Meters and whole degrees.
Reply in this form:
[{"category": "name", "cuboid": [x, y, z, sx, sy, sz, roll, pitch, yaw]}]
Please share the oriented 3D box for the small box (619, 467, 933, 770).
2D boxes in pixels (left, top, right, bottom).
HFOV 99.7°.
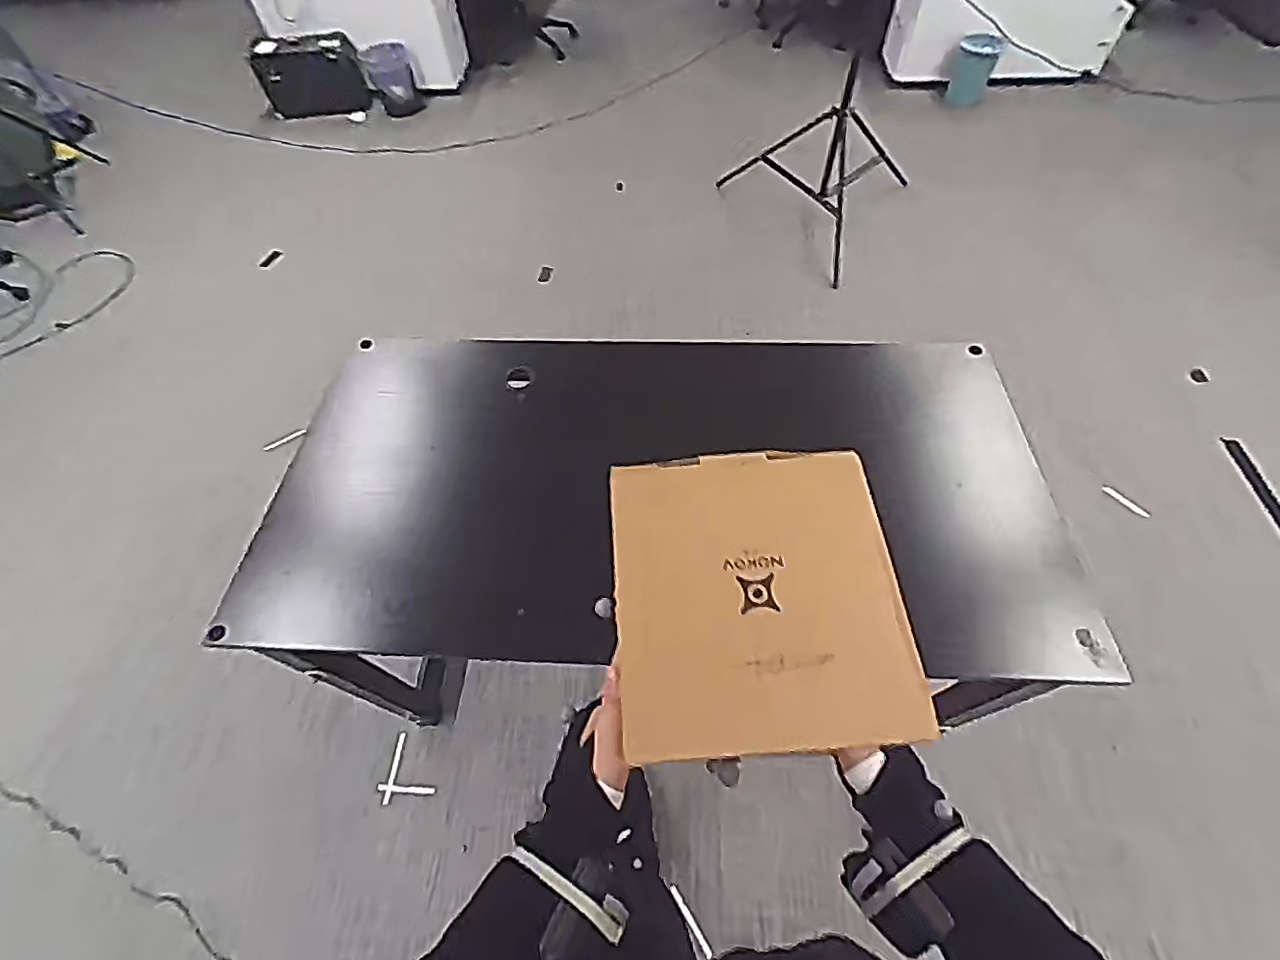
[{"category": "small box", "cuboid": [0.071, 0.109, 0.396, 0.168, 0.176, 0.179, -4, 63, -1]}]
